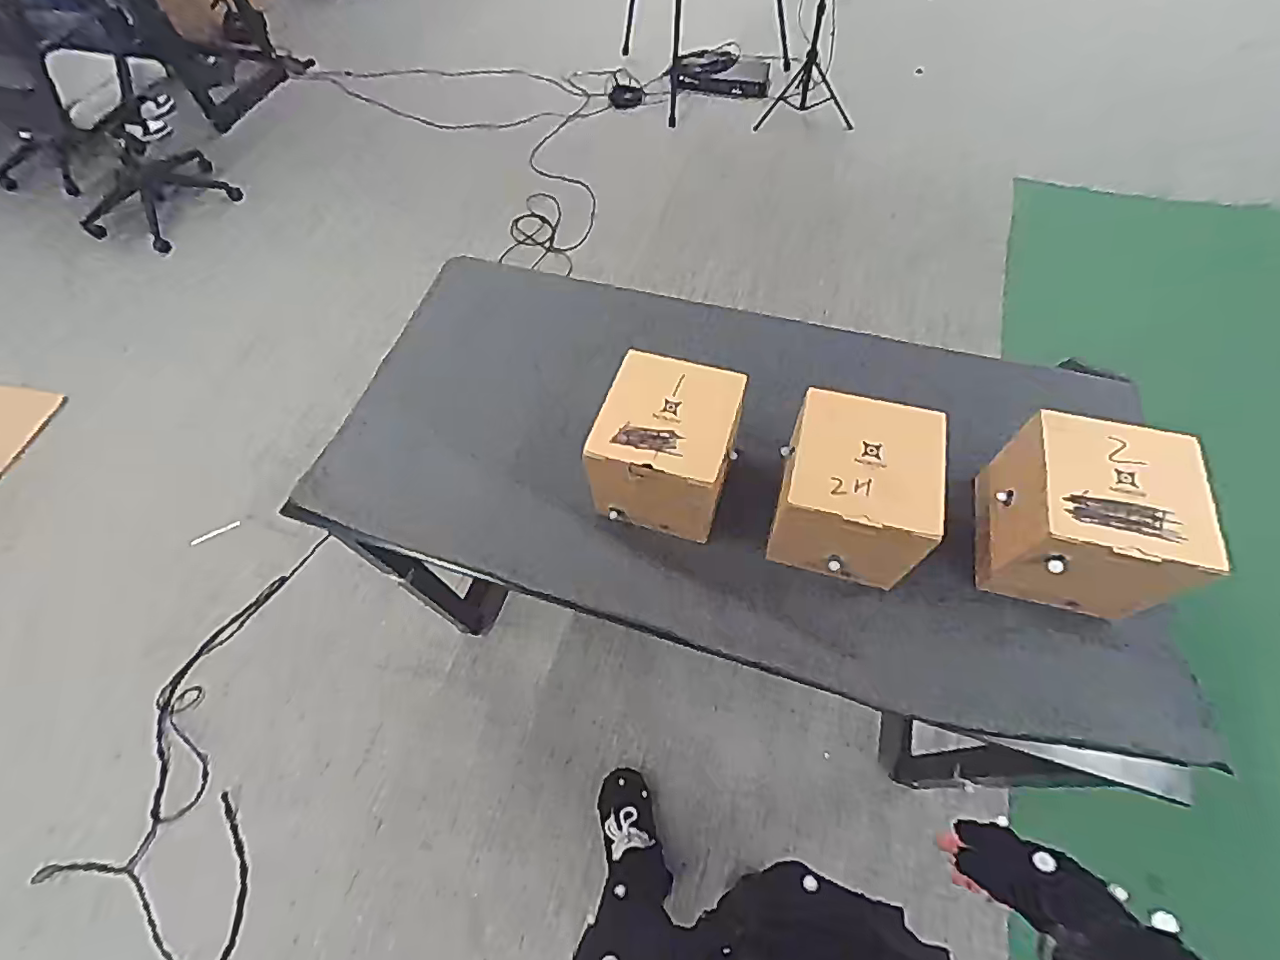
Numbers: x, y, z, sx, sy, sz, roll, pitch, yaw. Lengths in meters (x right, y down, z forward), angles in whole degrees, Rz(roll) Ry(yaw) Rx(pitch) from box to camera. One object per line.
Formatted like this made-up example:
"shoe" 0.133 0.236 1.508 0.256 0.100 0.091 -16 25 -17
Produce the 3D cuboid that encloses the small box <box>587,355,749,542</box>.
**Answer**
"small box" 0.042 -0.038 0.743 0.168 0.176 0.179 15 61 11

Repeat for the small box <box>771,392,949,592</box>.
"small box" 0.274 0.019 0.696 0.168 0.176 0.179 13 61 11
